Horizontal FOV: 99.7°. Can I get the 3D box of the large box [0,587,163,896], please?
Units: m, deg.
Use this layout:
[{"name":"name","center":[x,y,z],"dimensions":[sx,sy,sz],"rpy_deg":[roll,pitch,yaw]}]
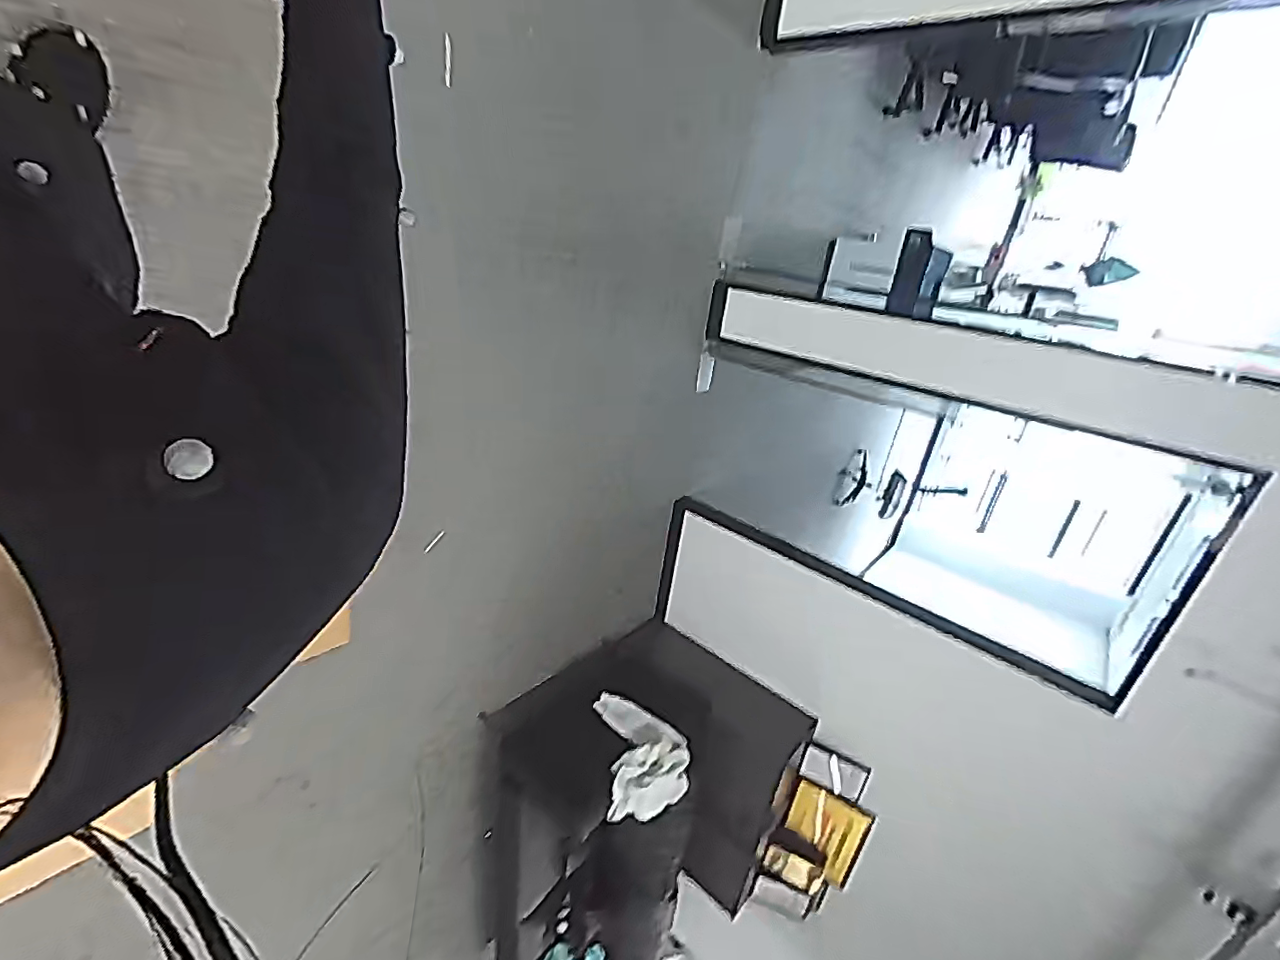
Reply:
[{"name":"large box","center":[-1.018,0.409,0.784],"dimensions":[0.408,0.320,0.320],"rpy_deg":[-18,120,-48]}]
